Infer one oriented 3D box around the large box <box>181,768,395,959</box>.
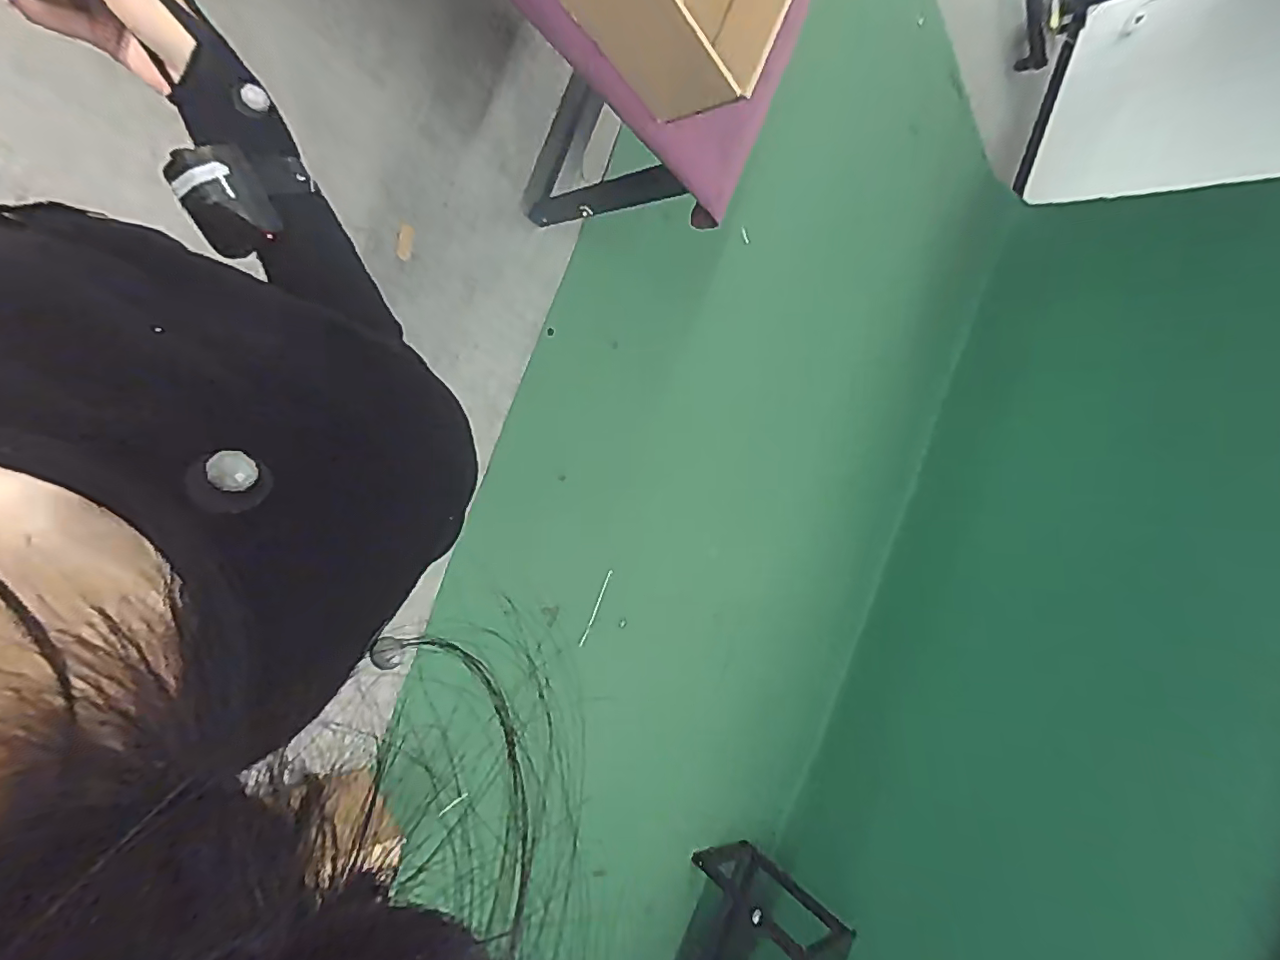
[{"bbox_3d":[-0.911,1.029,1.399,0.408,0.320,0.320,4,101,-44],"label":"large box"}]
